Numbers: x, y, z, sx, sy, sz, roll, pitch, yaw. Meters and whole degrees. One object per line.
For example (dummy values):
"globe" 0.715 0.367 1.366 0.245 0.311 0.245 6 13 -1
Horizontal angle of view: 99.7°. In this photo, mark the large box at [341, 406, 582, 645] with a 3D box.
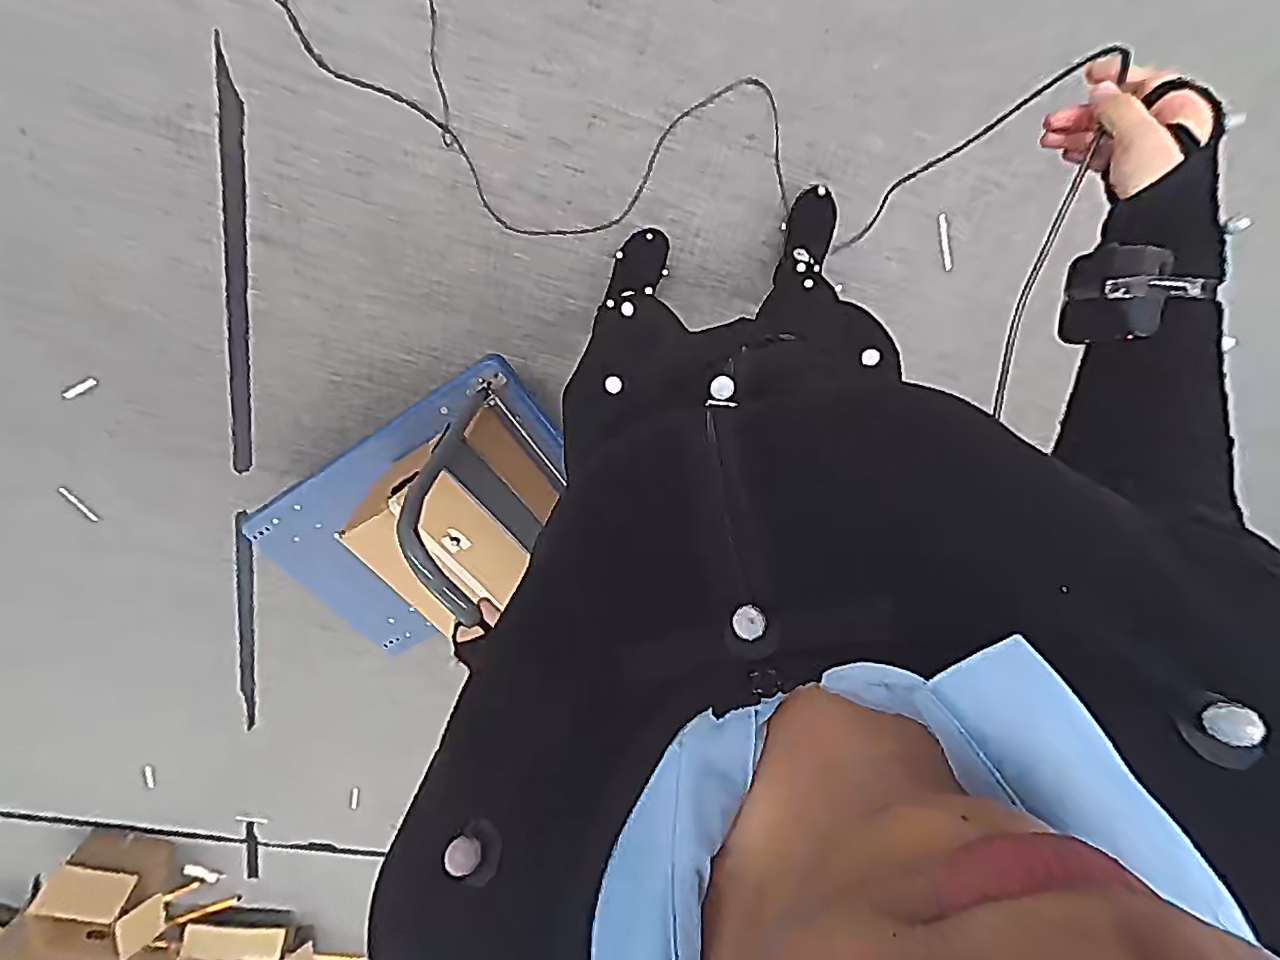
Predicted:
"large box" -0.383 0.105 1.279 0.320 0.320 0.408 -30 116 13
